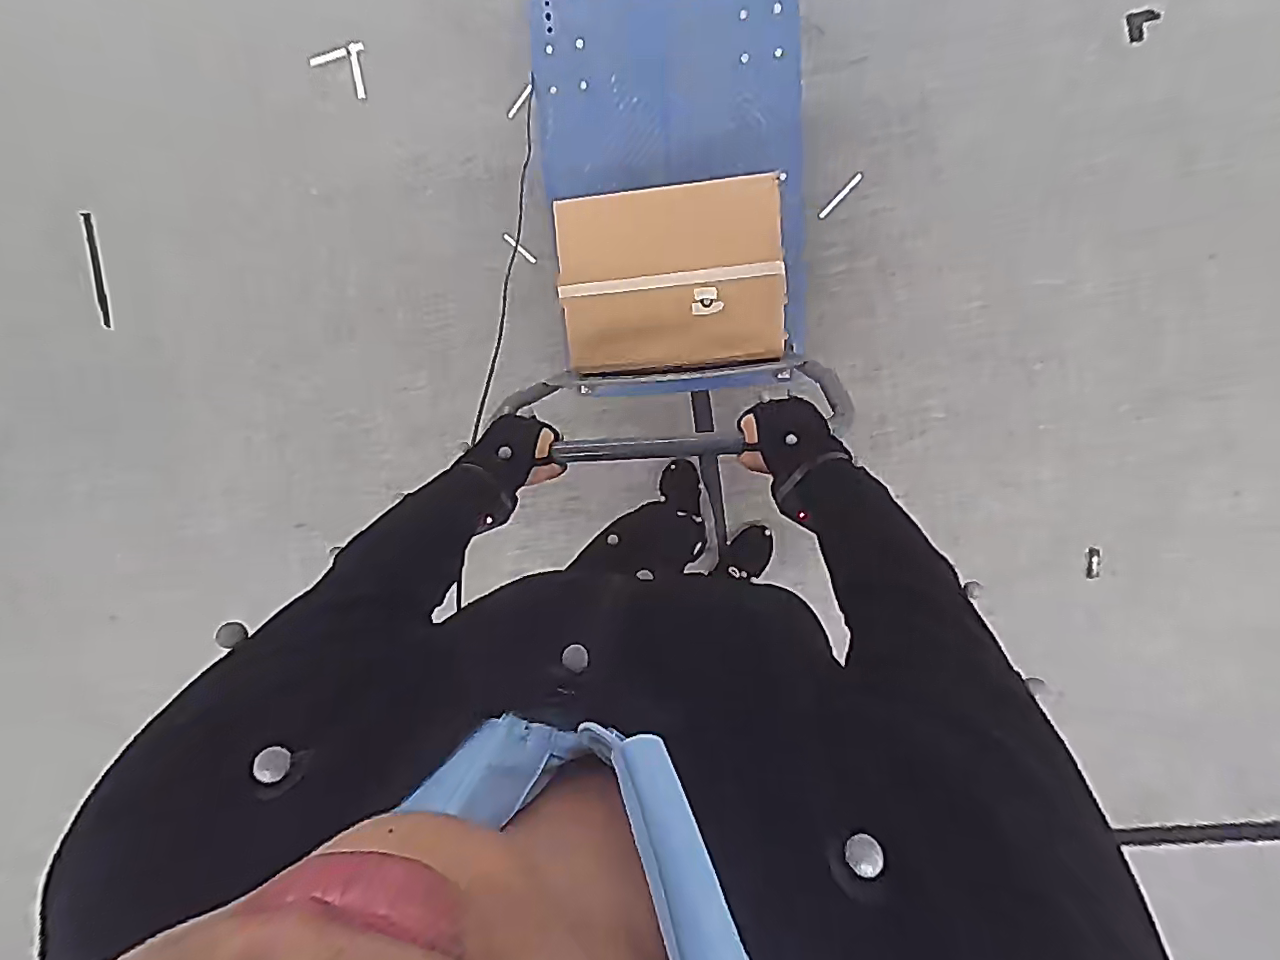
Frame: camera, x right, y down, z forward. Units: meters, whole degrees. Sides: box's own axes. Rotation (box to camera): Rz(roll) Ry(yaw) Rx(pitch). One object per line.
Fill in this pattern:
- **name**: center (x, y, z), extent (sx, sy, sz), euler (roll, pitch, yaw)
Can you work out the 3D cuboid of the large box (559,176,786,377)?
- **large box**: center (0.076, -0.400, 1.147), extent (0.408, 0.320, 0.320), euler (-4, 103, 8)
